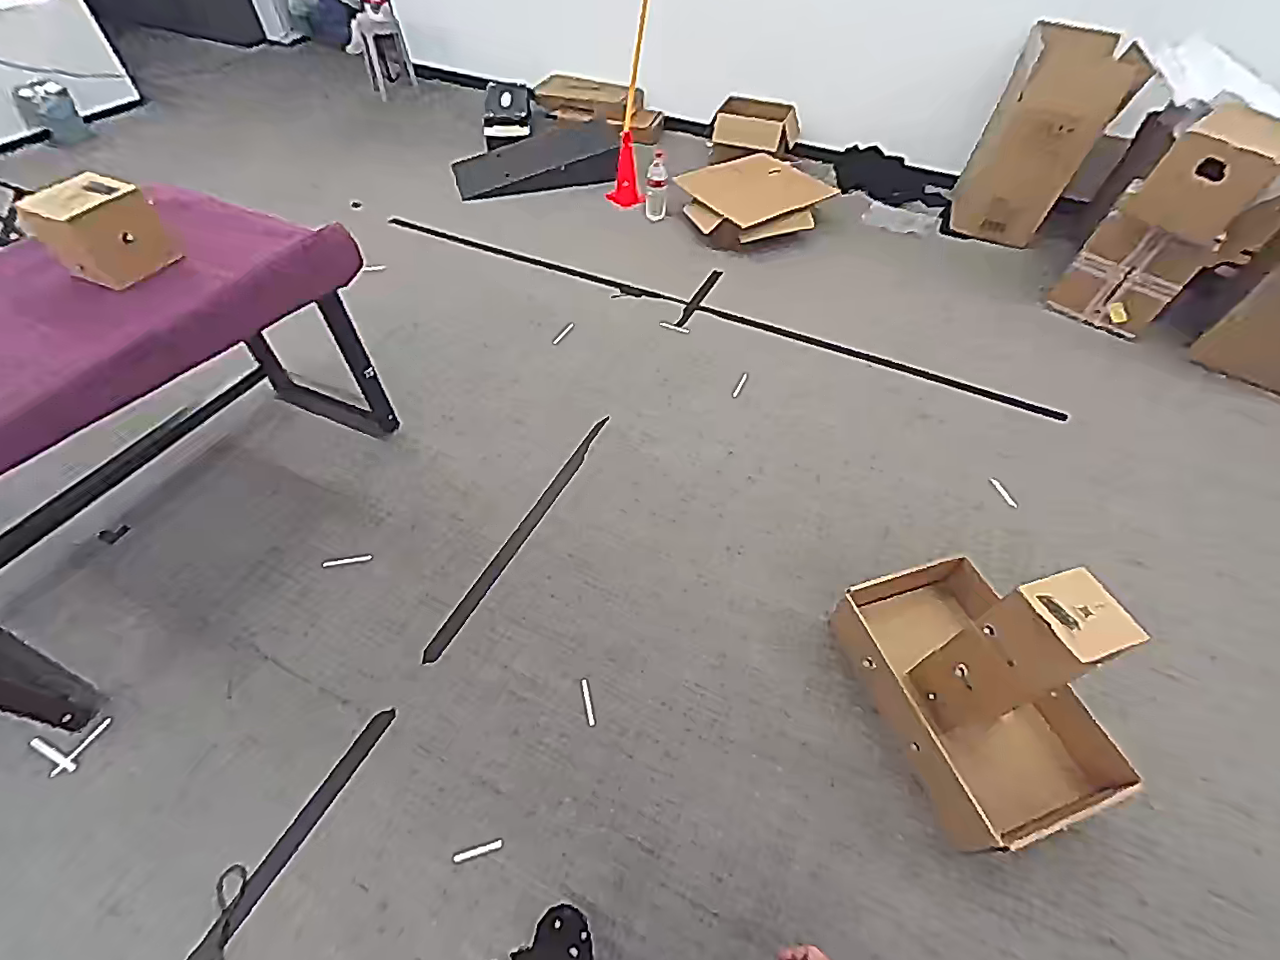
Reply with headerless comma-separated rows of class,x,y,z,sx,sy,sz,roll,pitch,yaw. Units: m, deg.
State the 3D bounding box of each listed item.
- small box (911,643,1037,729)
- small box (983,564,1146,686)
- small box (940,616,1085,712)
small box,0.828,0.505,1.361,0.179,0.176,0.168,-11,52,-11
small box,0.846,0.300,1.107,0.179,0.176,0.168,-12,53,-14
small box,0.836,0.405,1.233,0.179,0.176,0.168,-12,52,-11
